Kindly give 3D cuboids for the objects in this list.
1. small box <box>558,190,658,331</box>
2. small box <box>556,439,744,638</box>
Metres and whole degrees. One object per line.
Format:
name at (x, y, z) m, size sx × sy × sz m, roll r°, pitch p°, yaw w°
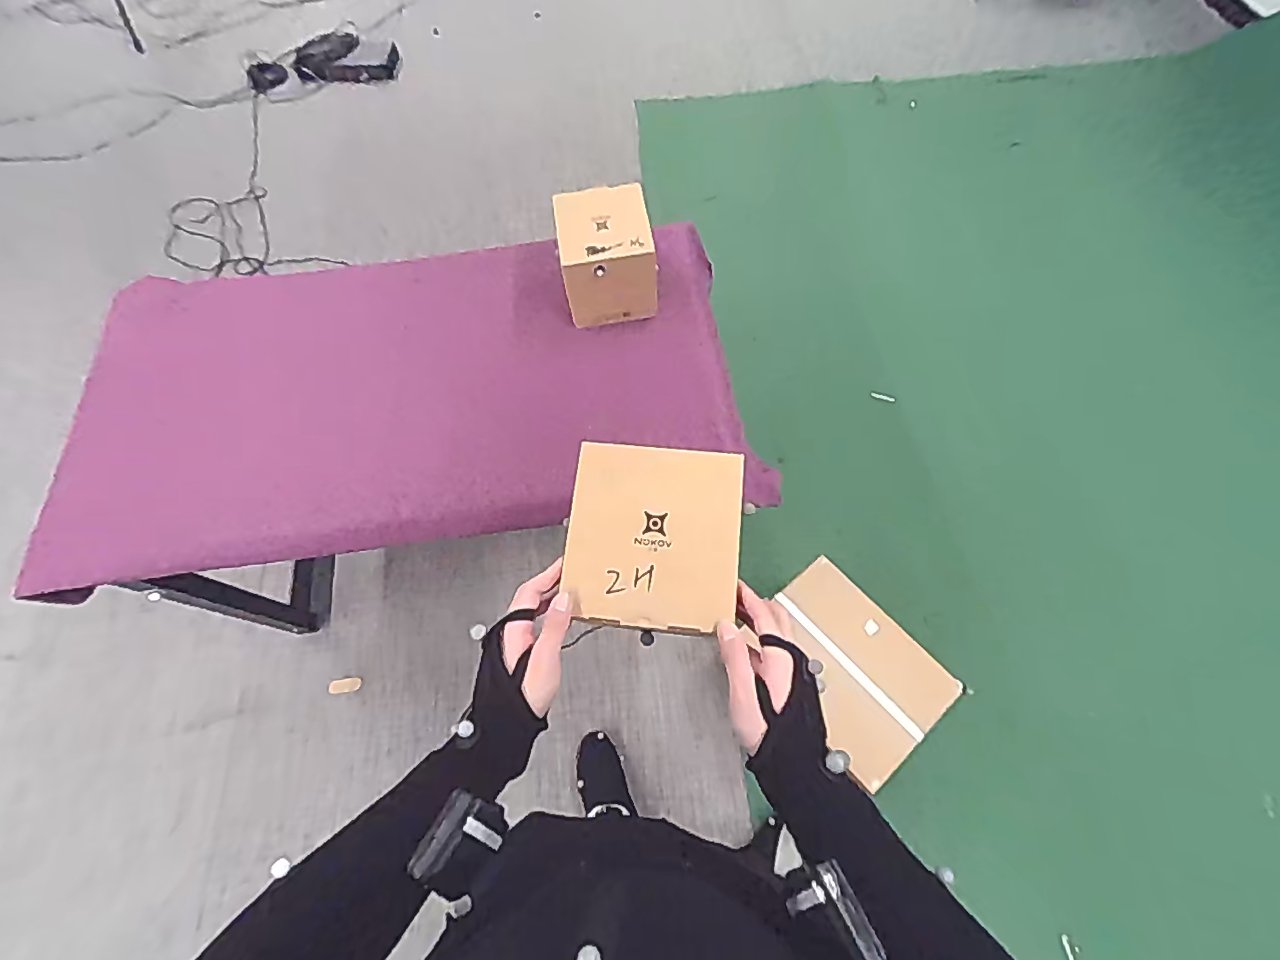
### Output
small box at (-0.059, -0.415, 1.037) m, size 0.168 × 0.176 × 0.179 m, roll -9°, pitch 65°, yaw -1°
small box at (0.017, 0.072, 0.592) m, size 0.168 × 0.176 × 0.179 m, roll 5°, pitch 72°, yaw 6°
